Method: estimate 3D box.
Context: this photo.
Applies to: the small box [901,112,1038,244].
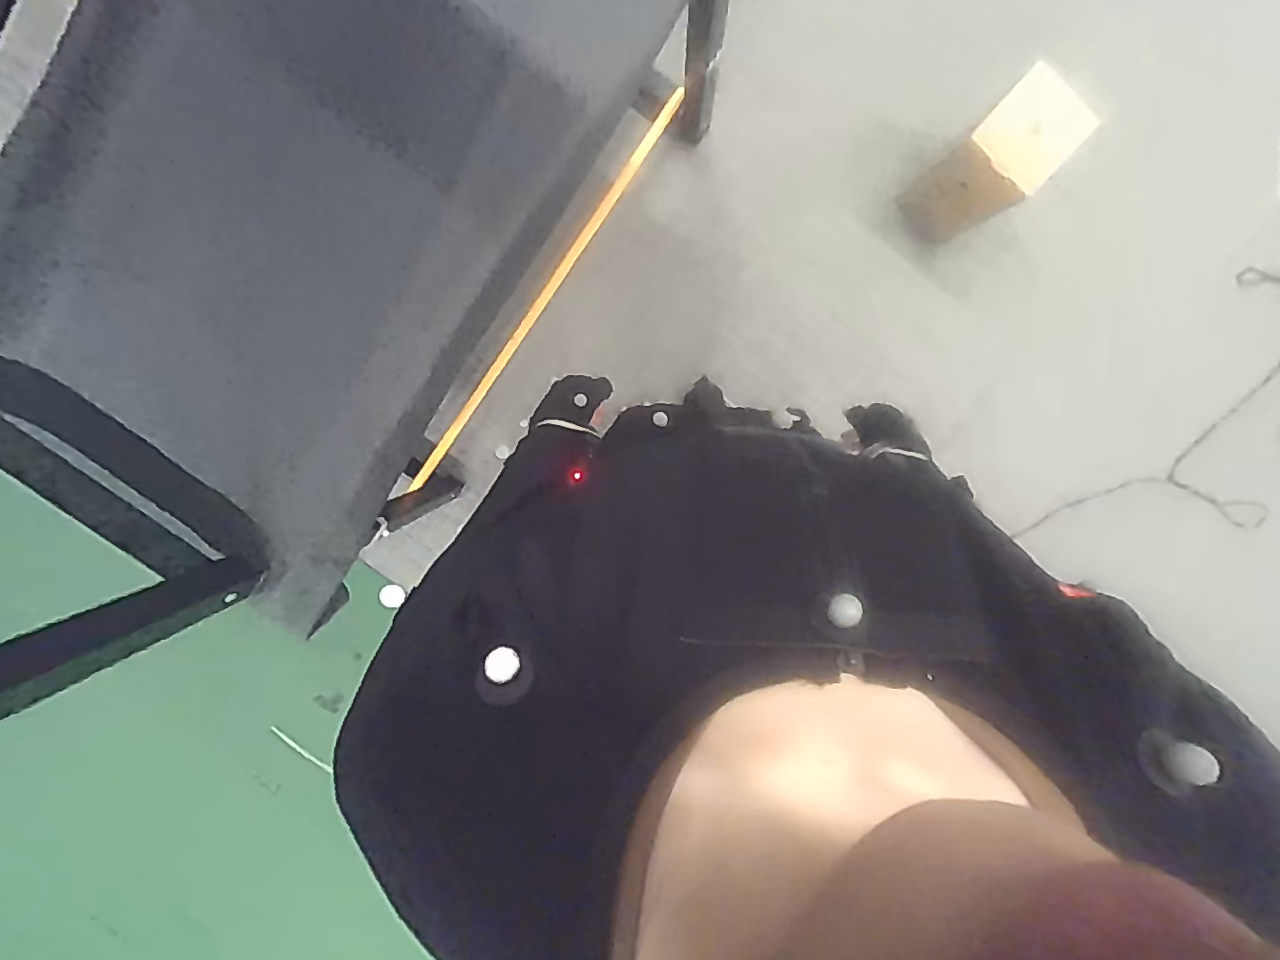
[{"bbox_3d":[0.746,-0.684,1.248,0.168,0.176,0.179,43,100,-3],"label":"small box"}]
